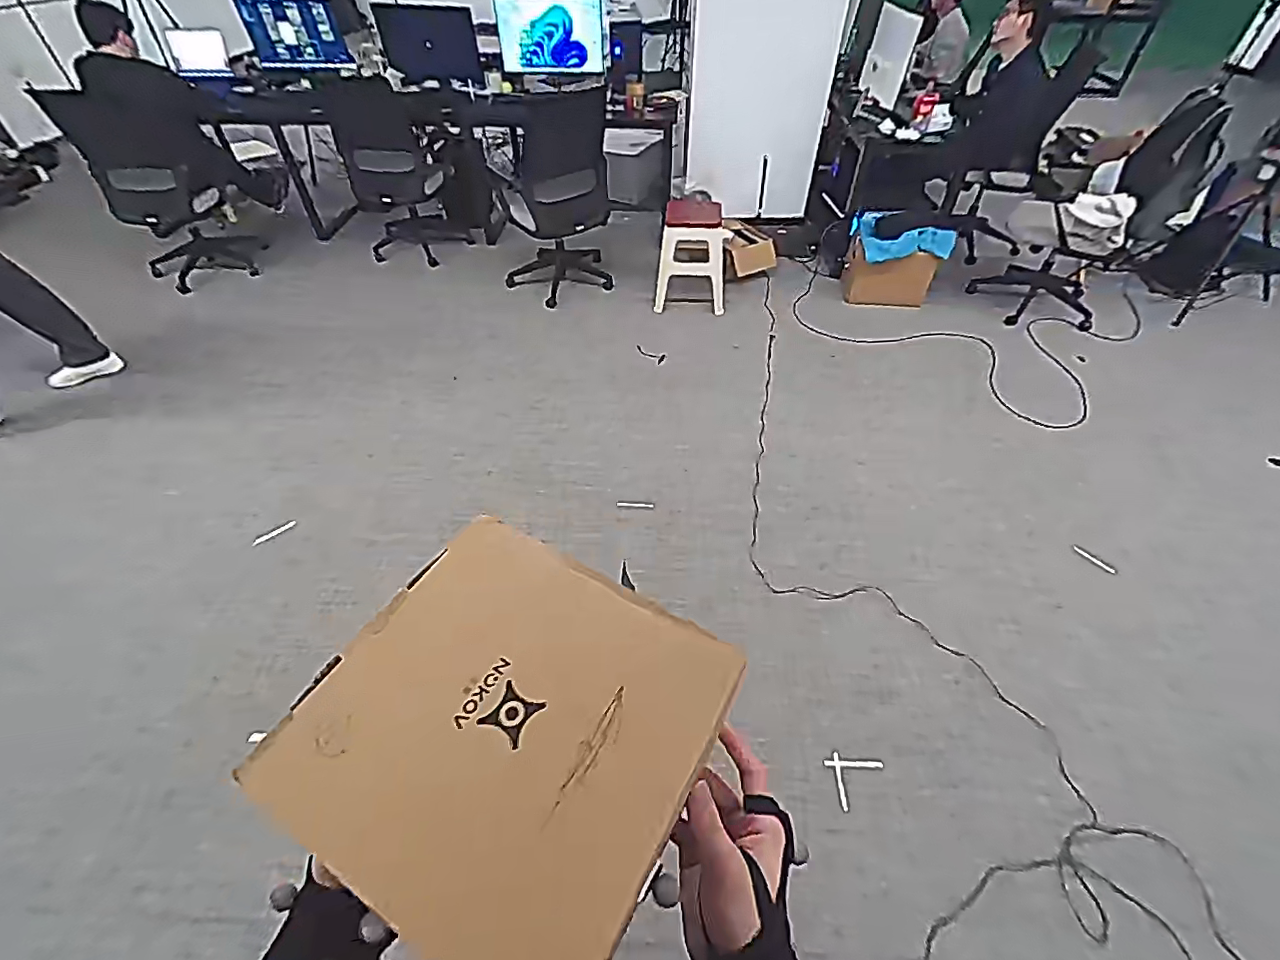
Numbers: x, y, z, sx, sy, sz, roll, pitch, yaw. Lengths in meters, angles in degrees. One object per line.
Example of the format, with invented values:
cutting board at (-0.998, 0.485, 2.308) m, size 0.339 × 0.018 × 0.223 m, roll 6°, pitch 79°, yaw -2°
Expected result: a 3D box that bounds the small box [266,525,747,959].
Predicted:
small box at (-0.059, 0.164, 0.323) m, size 0.179 × 0.176 × 0.168 m, roll 23°, pitch 54°, yaw 18°
